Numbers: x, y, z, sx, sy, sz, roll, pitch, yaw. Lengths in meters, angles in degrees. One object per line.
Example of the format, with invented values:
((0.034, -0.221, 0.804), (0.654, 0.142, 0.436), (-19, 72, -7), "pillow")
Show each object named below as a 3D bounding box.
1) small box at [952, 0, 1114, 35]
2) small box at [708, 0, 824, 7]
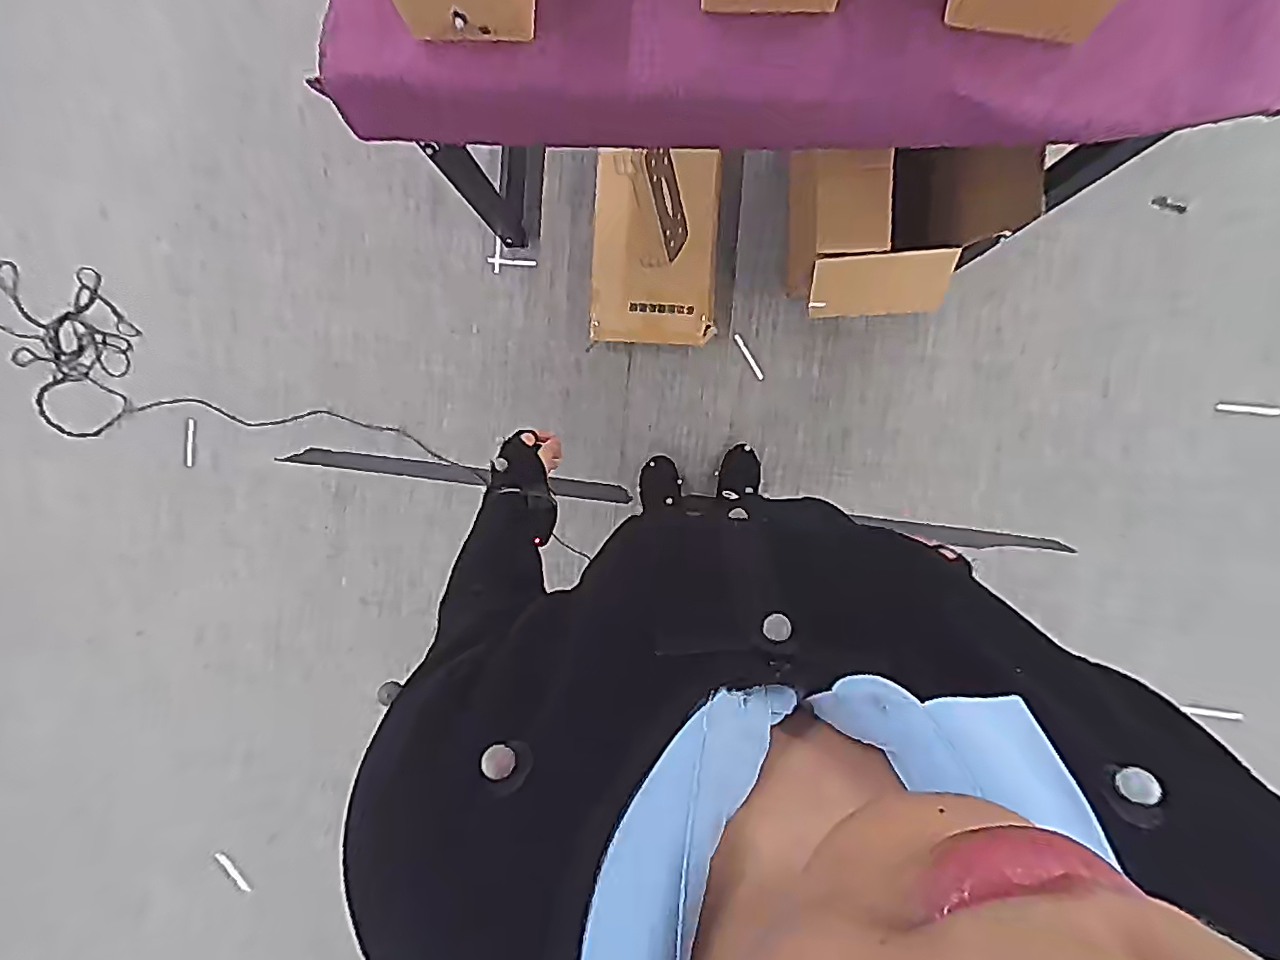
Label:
((0.486, -0.648, 0.603), (0.179, 0.176, 0.168), (11, 94, 3), "small box")
((0.171, -0.693, 0.621), (0.179, 0.176, 0.168), (4, 92, 4), "small box")
